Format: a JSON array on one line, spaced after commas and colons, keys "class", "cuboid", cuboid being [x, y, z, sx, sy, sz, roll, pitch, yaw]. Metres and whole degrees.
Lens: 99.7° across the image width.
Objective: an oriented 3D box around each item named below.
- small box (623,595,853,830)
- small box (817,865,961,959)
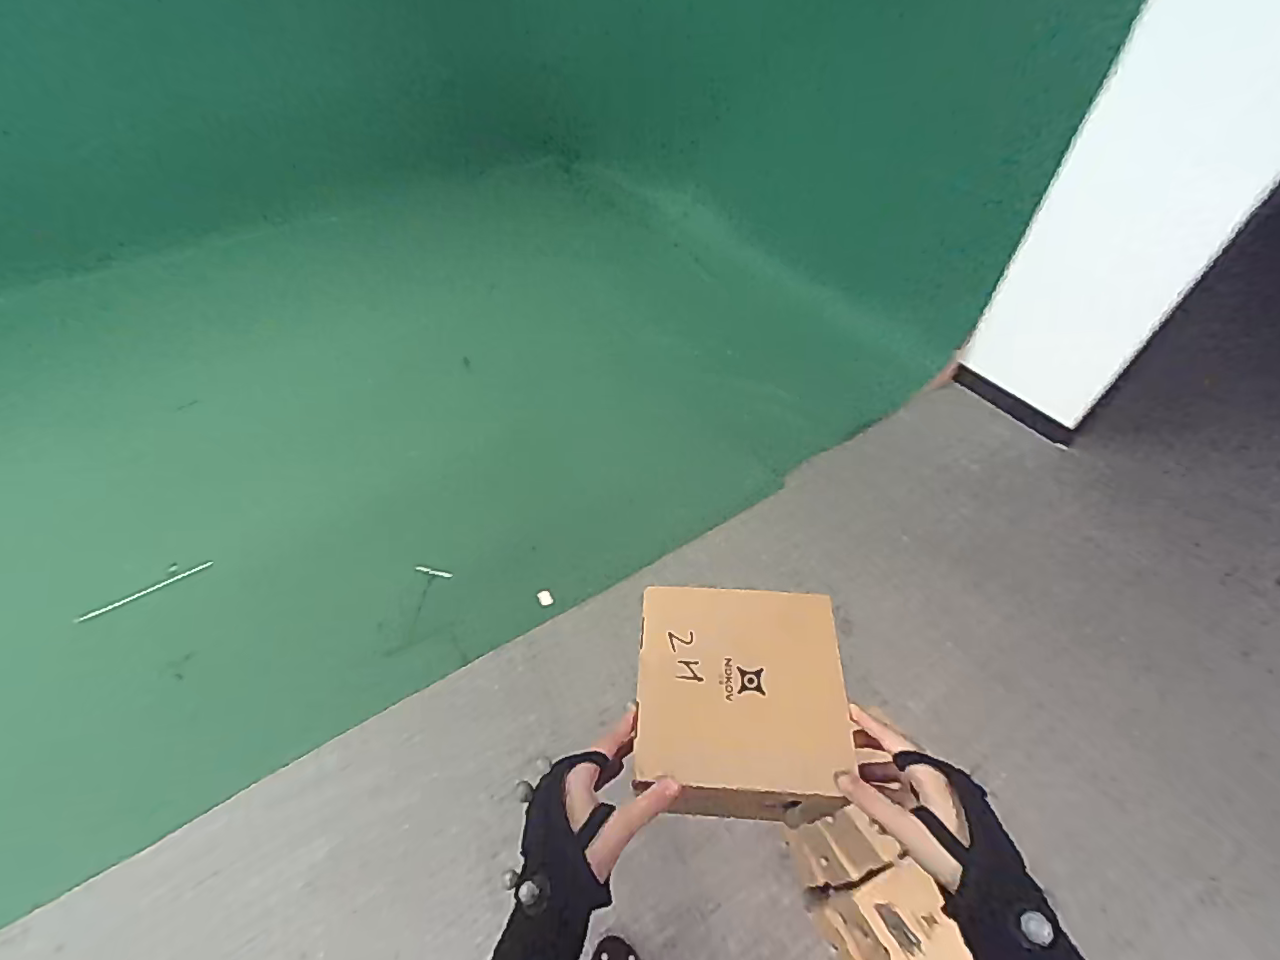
[{"class": "small box", "cuboid": [0.081, 0.225, 0.517, 0.179, 0.176, 0.168, 1, 51, 4]}, {"class": "small box", "cuboid": [0.477, 0.901, 1.066, 0.179, 0.176, 0.168, -27, 54, -17]}]
